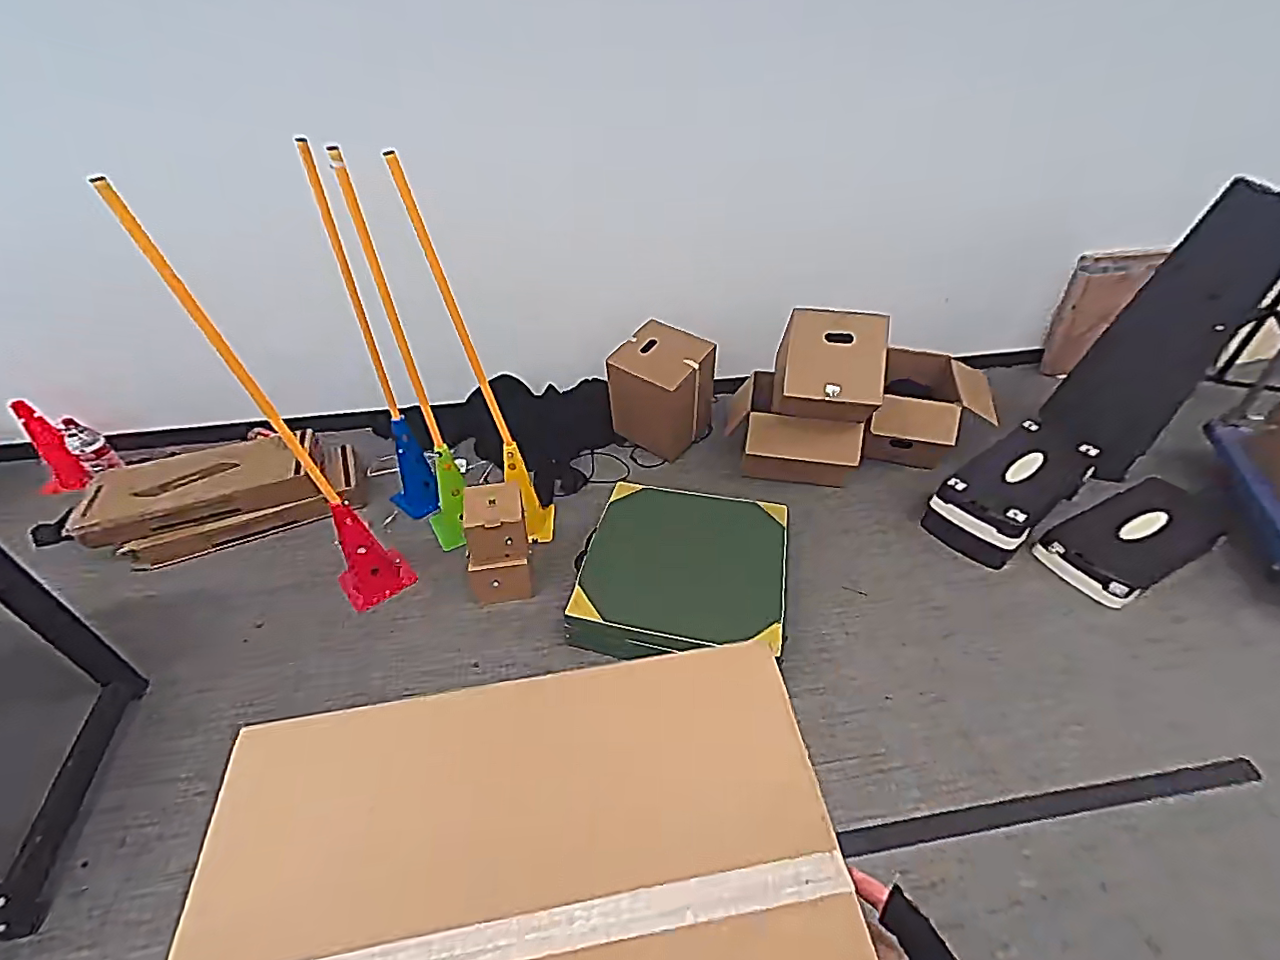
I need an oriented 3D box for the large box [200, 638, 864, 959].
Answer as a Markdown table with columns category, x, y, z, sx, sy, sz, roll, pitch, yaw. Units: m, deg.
| category | x | y | z | sx | sy | sz | roll | pitch | yaw |
| --- | --- | --- | --- | --- | --- | --- | --- | --- | --- |
| large box | -0.067 | 0.370 | 0.446 | 0.408 | 0.320 | 0.320 | -8 | 51 | -4 |
